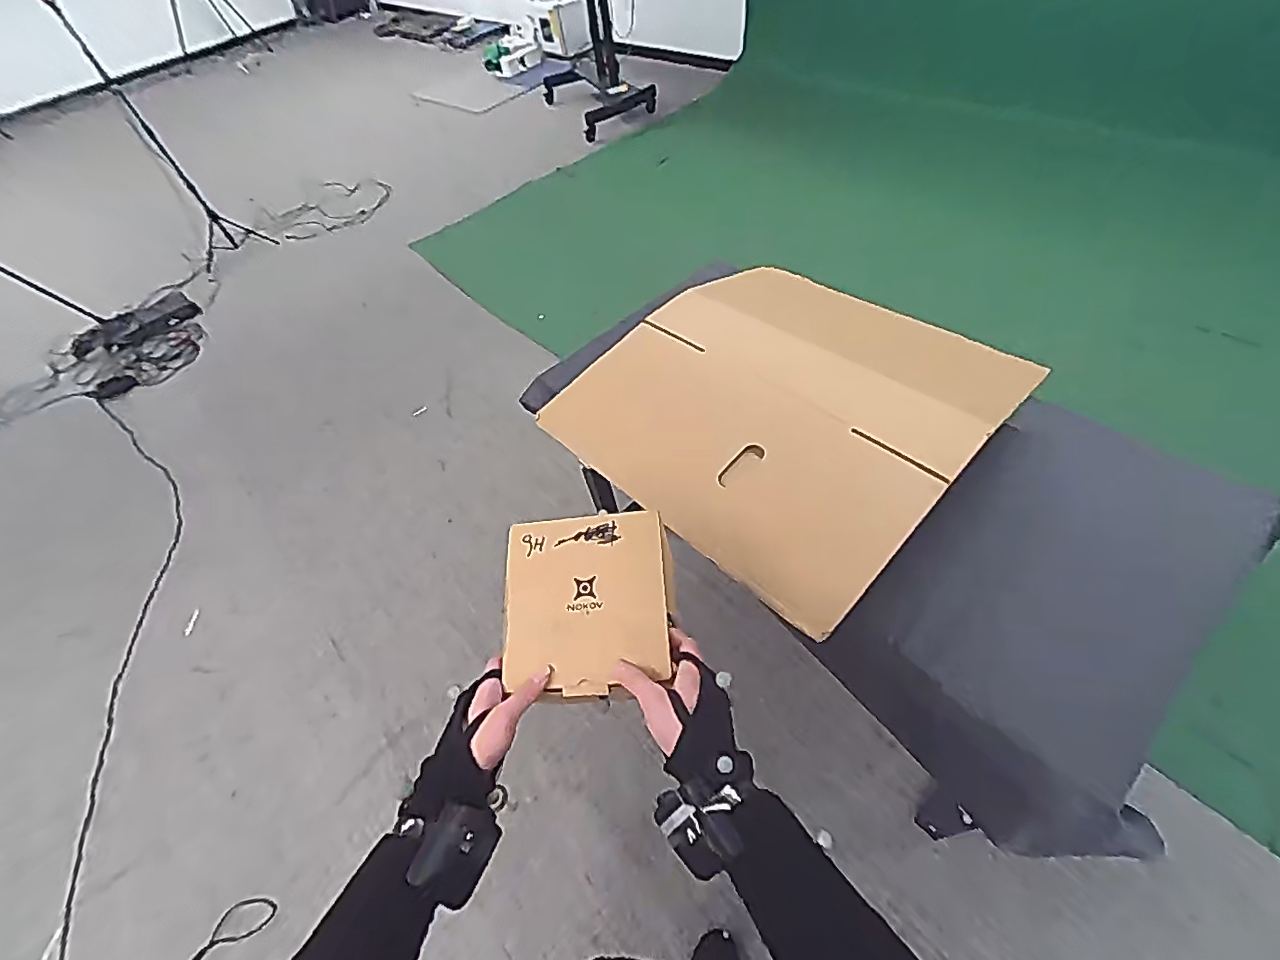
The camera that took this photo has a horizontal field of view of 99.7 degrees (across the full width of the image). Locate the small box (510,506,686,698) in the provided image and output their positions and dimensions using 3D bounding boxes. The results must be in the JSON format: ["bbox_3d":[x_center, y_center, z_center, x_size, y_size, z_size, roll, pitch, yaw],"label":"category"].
[{"bbox_3d":[-0.041,0.150,0.622,0.168,0.176,0.179,-9,63,5],"label":"small box"}]
